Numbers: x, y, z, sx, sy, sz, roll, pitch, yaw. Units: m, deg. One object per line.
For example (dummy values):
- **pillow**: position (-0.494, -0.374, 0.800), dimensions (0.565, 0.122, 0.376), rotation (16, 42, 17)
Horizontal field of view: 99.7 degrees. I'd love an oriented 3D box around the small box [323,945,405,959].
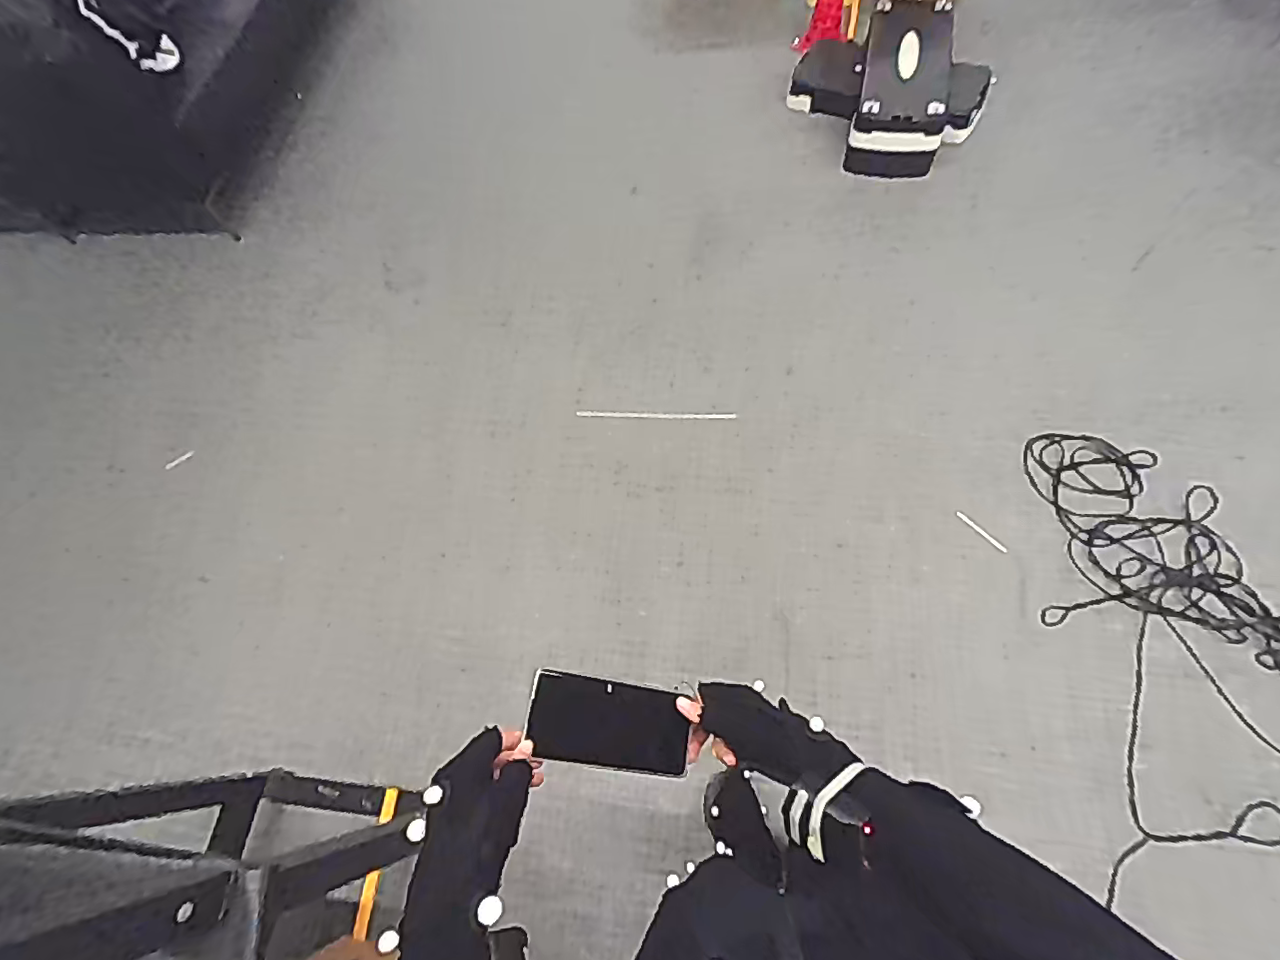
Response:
- **small box**: position (-0.532, 0.976, 0.967), dimensions (0.179, 0.176, 0.168), rotation (5, 66, 10)
